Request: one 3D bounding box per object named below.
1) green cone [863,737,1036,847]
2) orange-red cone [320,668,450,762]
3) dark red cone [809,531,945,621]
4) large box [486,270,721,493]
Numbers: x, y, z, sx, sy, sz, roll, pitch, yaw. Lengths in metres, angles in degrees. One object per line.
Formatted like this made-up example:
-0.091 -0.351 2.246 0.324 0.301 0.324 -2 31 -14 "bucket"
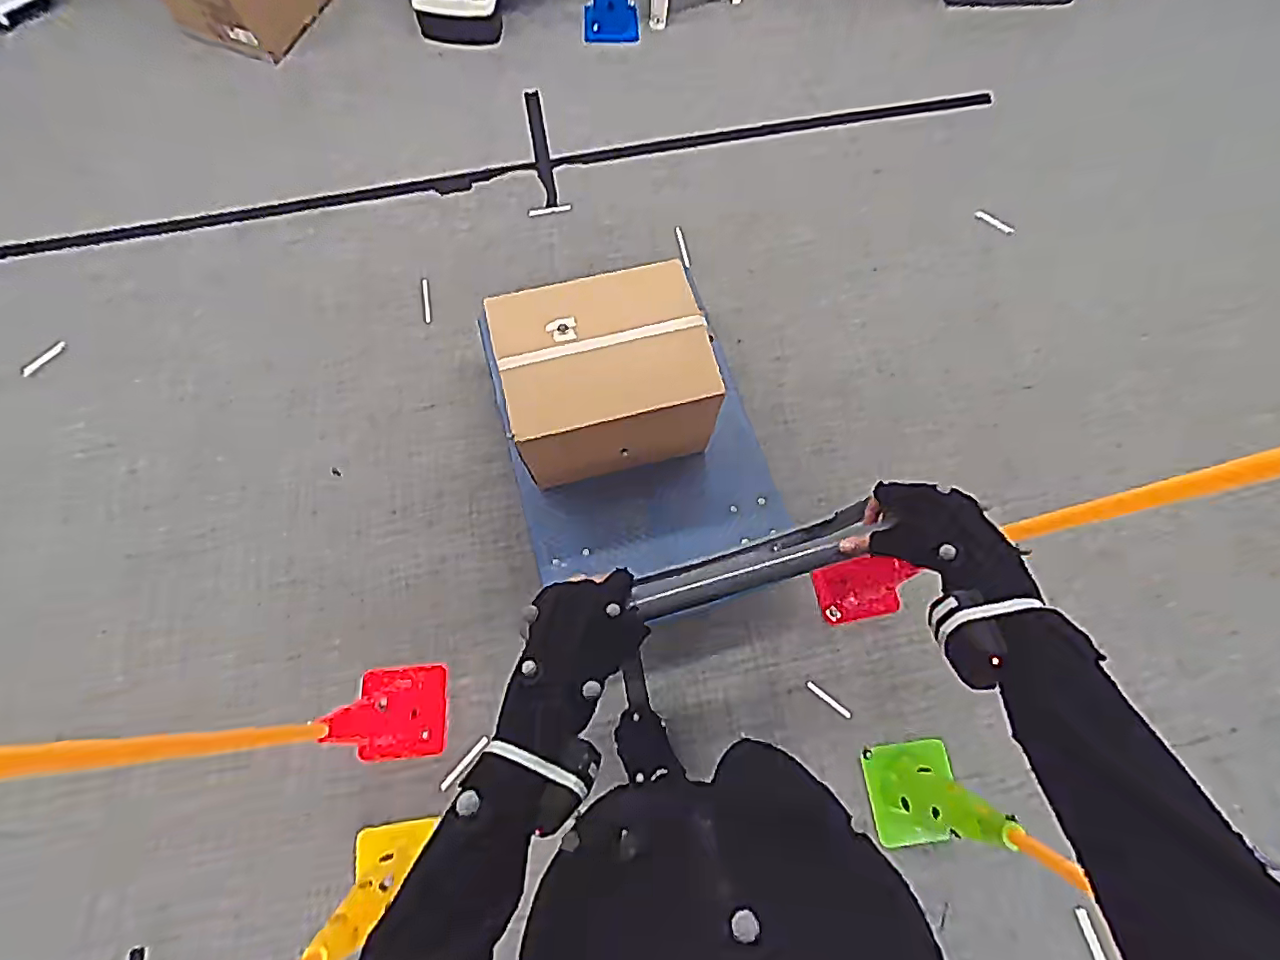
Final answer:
0.624 0.645 1.058 0.202 0.368 0.200 -7 72 -4 "green cone"
-0.544 0.491 1.105 0.198 0.360 0.199 -4 70 -3 "orange-red cone"
0.545 0.185 1.193 0.201 0.394 0.202 -11 72 -6 "dark red cone"
-0.076 -0.196 1.185 0.408 0.320 0.320 -15 73 -5 "large box"
